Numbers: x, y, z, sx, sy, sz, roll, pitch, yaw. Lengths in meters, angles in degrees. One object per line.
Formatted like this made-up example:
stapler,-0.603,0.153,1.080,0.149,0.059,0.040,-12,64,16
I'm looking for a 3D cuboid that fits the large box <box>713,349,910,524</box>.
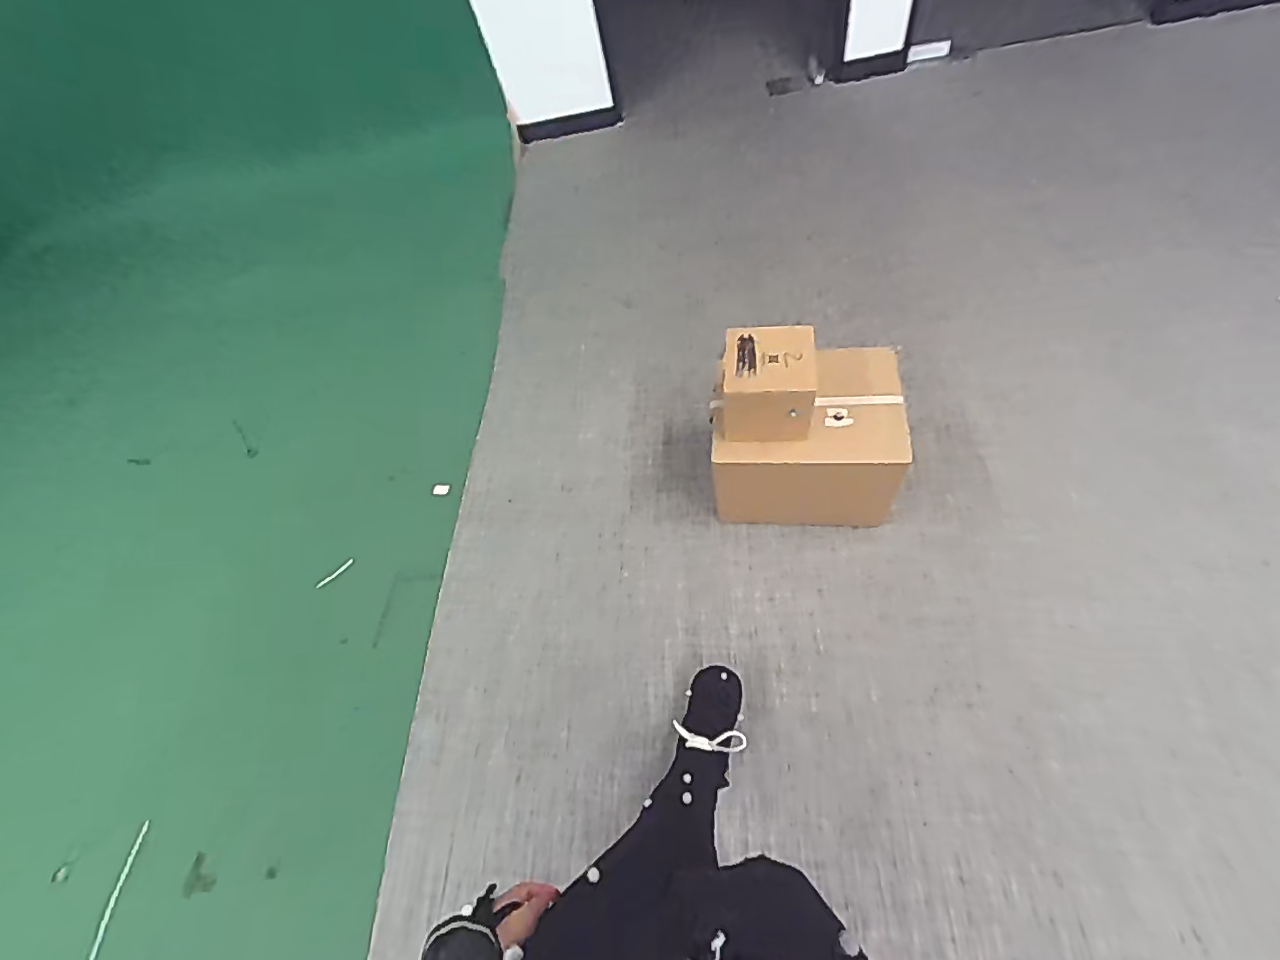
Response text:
large box,0.385,-0.093,1.320,0.408,0.320,0.320,1,62,11
